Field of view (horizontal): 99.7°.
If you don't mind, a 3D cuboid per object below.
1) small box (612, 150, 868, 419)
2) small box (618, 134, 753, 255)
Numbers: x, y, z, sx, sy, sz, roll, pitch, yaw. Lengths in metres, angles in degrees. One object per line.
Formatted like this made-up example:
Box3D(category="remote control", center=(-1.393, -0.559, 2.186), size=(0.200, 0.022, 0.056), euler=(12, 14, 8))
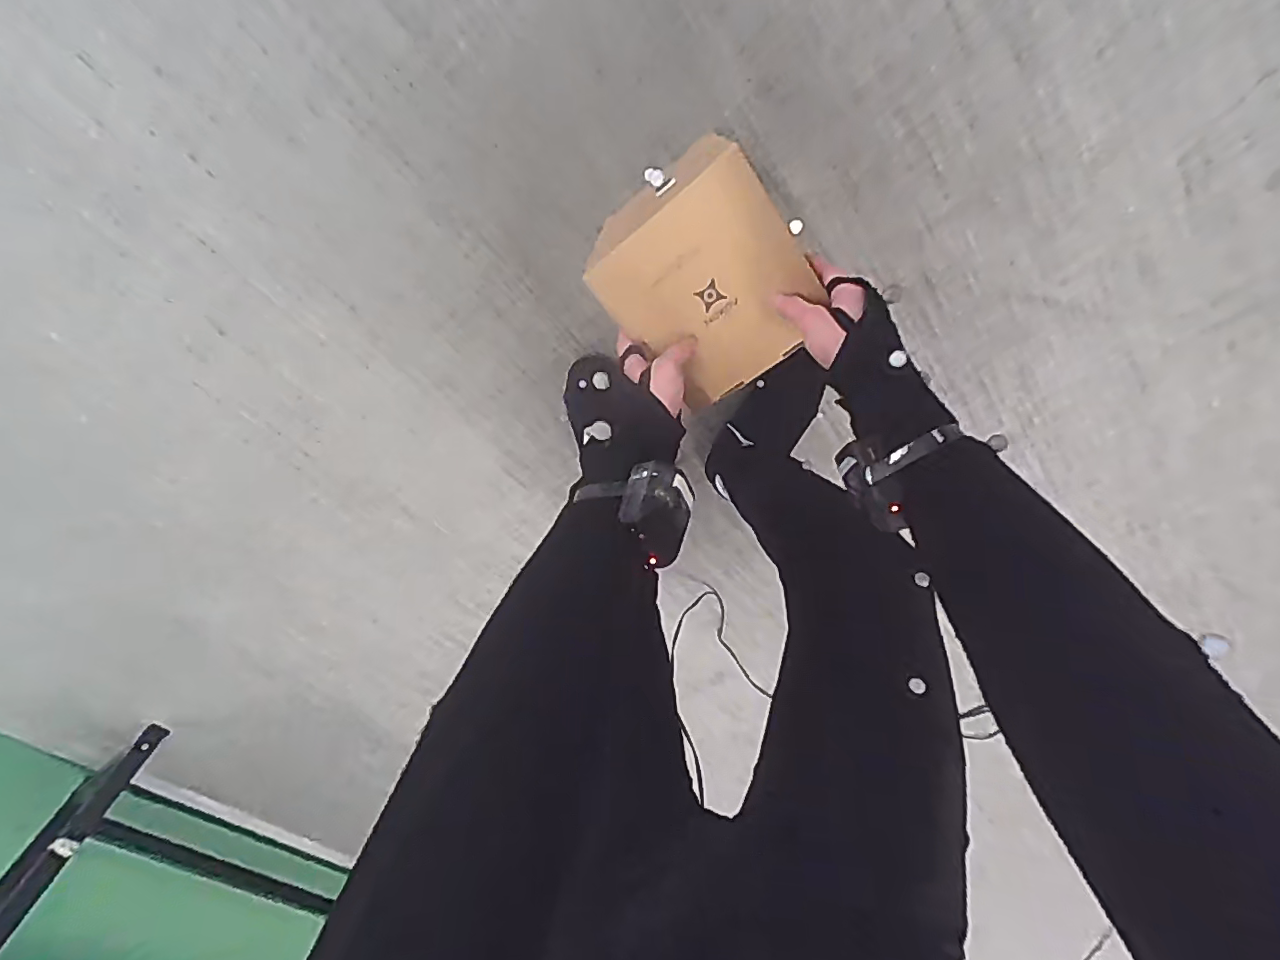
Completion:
Box3D(category="small box", center=(0.095, -0.200, 0.542), size=(0.168, 0.176, 0.179), euler=(-33, 115, 22))
Box3D(category="small box", center=(0.096, -0.304, 0.691), size=(0.179, 0.176, 0.168), euler=(-33, 115, 23))
